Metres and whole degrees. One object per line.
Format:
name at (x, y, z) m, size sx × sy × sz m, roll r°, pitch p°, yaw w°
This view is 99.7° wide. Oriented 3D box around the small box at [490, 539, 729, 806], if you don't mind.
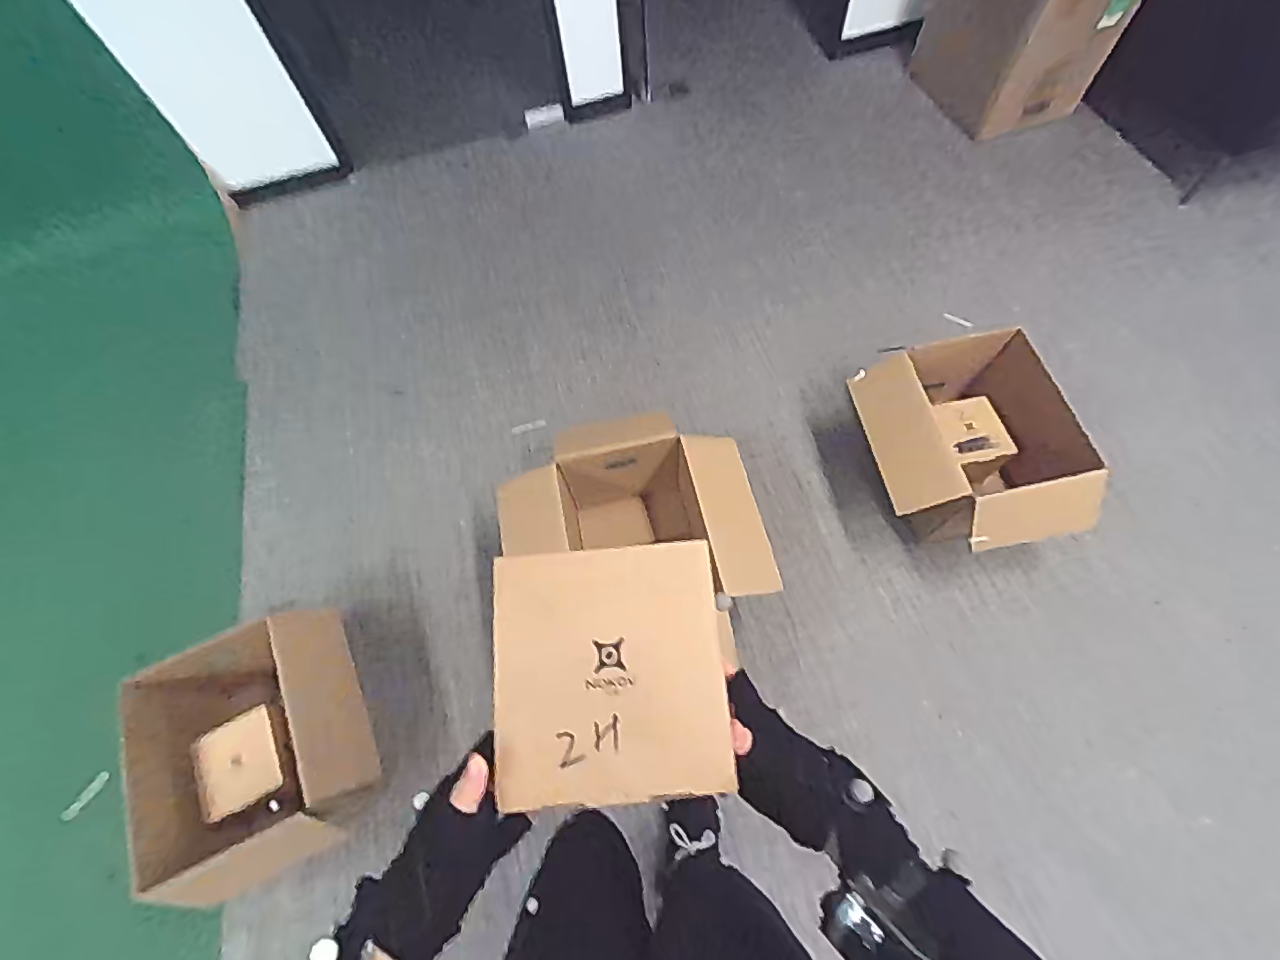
small box at (-0.026, 0.157, 0.467) m, size 0.168 × 0.176 × 0.179 m, roll -5°, pitch 73°, yaw -1°
